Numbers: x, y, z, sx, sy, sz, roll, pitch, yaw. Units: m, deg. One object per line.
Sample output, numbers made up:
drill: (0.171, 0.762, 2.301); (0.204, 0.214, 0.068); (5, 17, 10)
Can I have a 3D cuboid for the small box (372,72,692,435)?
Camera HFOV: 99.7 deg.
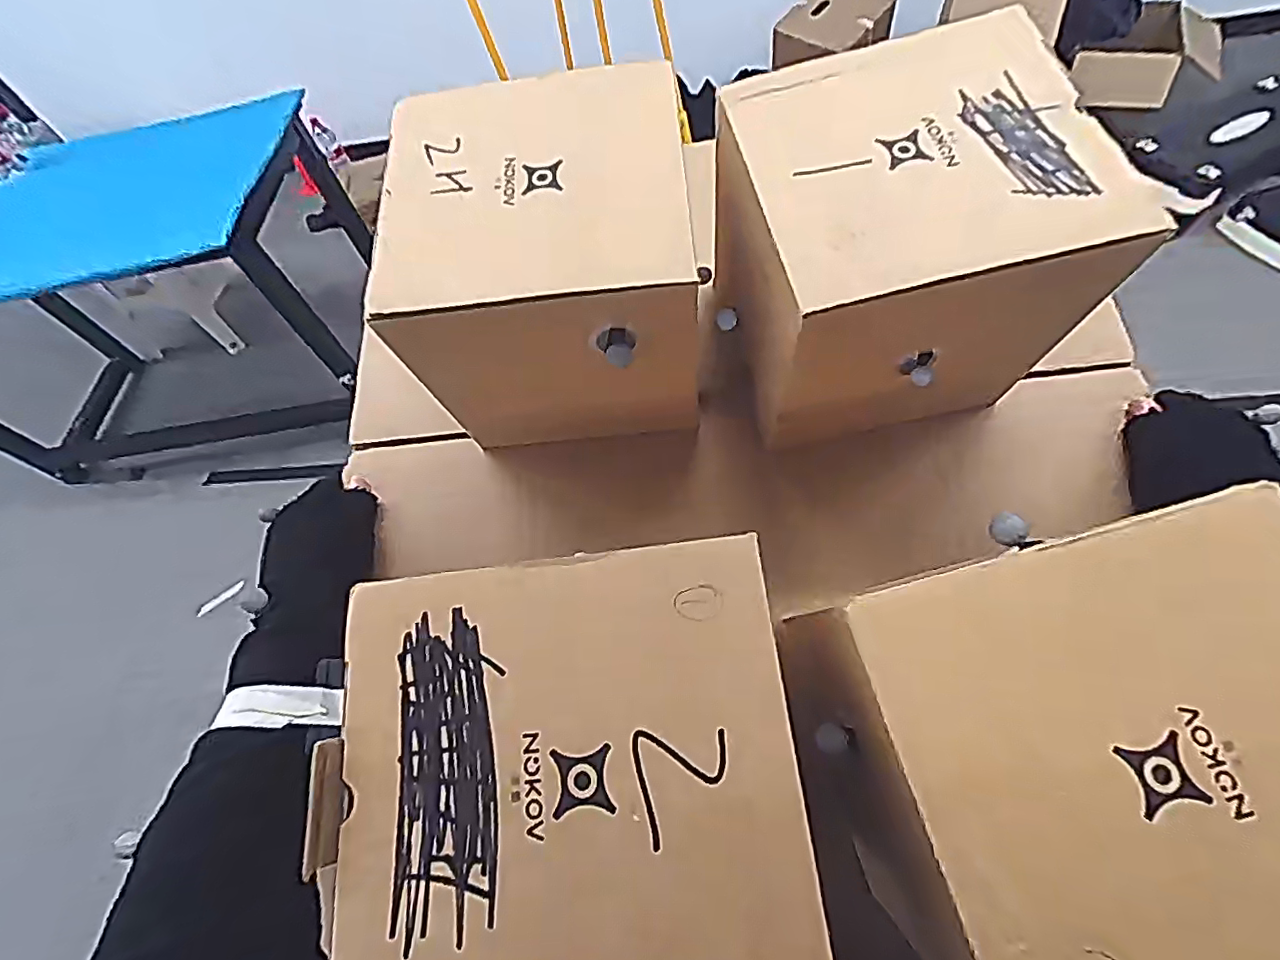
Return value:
small box: (-0.055, -0.143, 0.389); (0.179, 0.176, 0.168); (-4, 69, 5)
